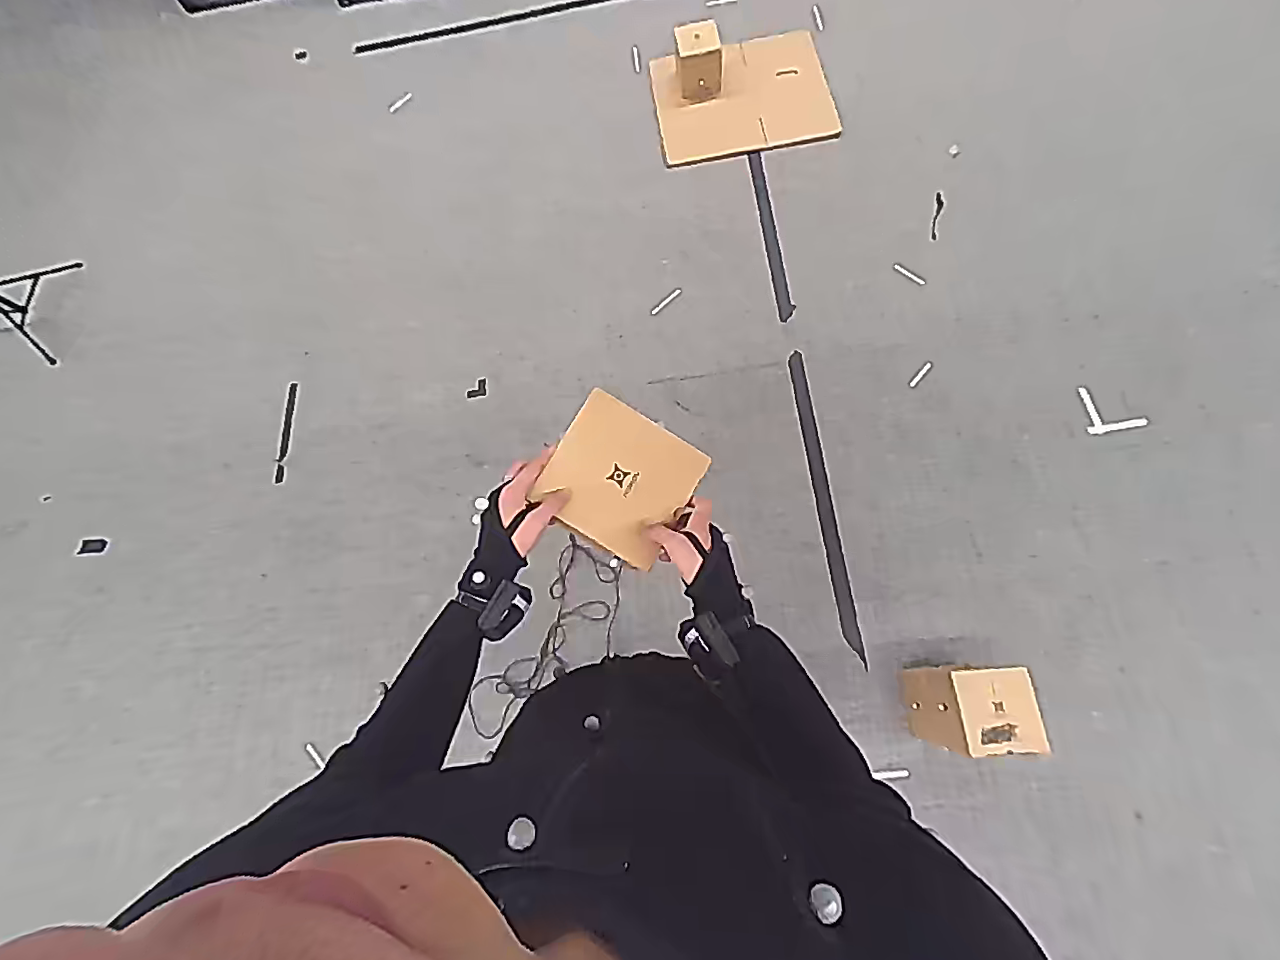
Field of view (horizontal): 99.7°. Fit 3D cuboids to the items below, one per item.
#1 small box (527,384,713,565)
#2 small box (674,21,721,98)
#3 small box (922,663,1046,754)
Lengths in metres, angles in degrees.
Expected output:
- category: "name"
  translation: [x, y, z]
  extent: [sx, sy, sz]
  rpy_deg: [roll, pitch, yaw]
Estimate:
- category: "small box"
  translation: [-0.033, 0.002, 0.734]
  extent: [0.179, 0.176, 0.168]
  rpy_deg: [32, 80, -4]
- category: "small box"
  translation: [0.233, -1.708, 2.200]
  extent: [0.168, 0.176, 0.179]
  rpy_deg: [-9, 71, 4]
- category: "small box"
  translation: [0.782, 0.521, 1.250]
  extent: [0.168, 0.176, 0.179]
  rpy_deg: [-6, 71, 4]
